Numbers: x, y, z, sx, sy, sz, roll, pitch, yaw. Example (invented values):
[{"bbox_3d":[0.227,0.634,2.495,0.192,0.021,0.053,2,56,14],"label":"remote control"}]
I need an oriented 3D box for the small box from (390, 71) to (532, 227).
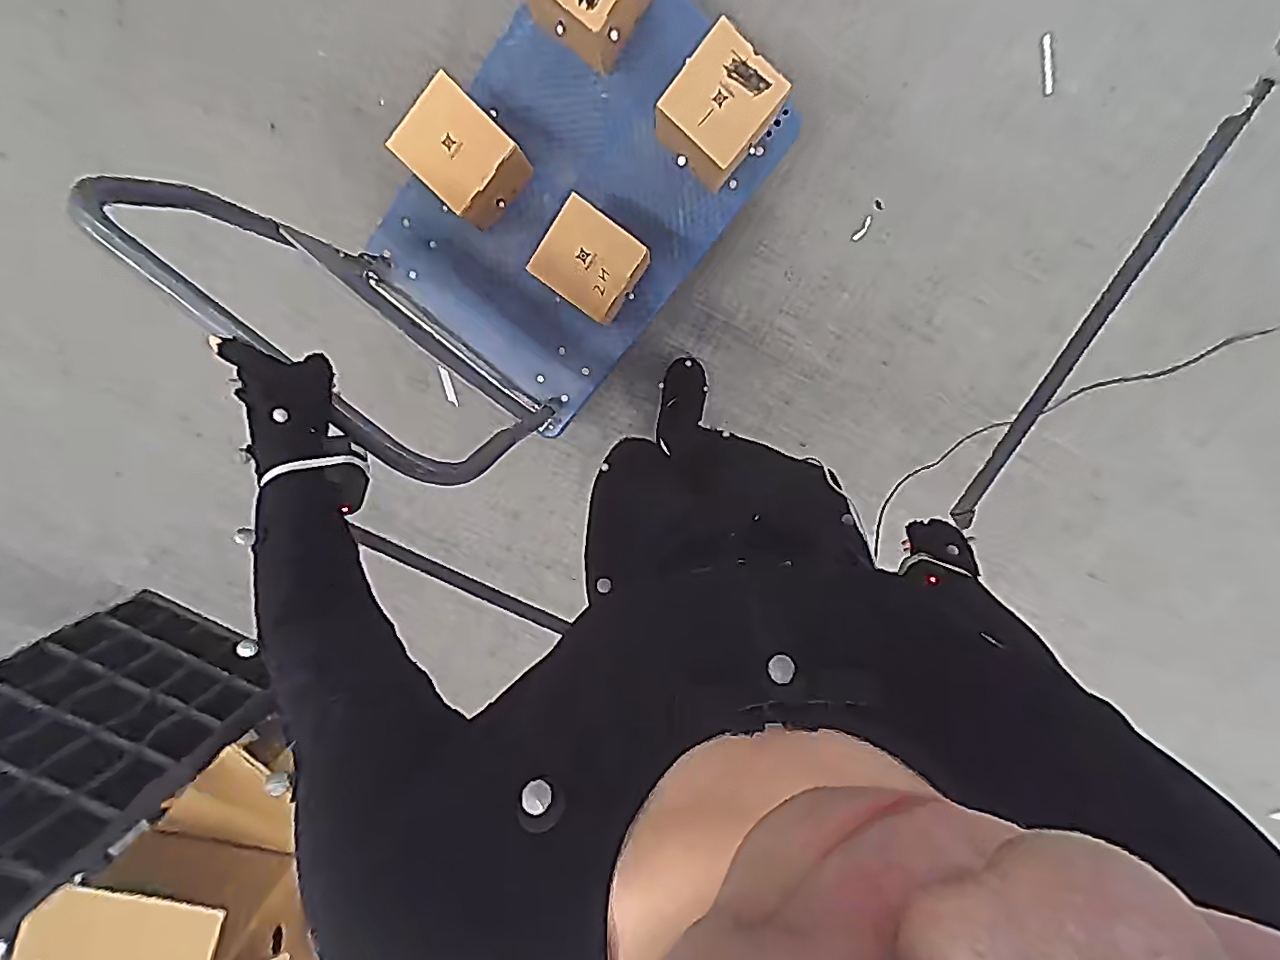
[{"bbox_3d":[-0.336,-0.624,1.050,0.179,0.176,0.168,43,101,-11],"label":"small box"}]

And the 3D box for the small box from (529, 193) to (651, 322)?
[{"bbox_3d":[-0.094,-0.434,1.090,0.179,0.176,0.168,35,103,-7],"label":"small box"}]

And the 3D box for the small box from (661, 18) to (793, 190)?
[{"bbox_3d":[0.153,-0.690,1.019,0.168,0.176,0.179,40,103,-8],"label":"small box"}]
